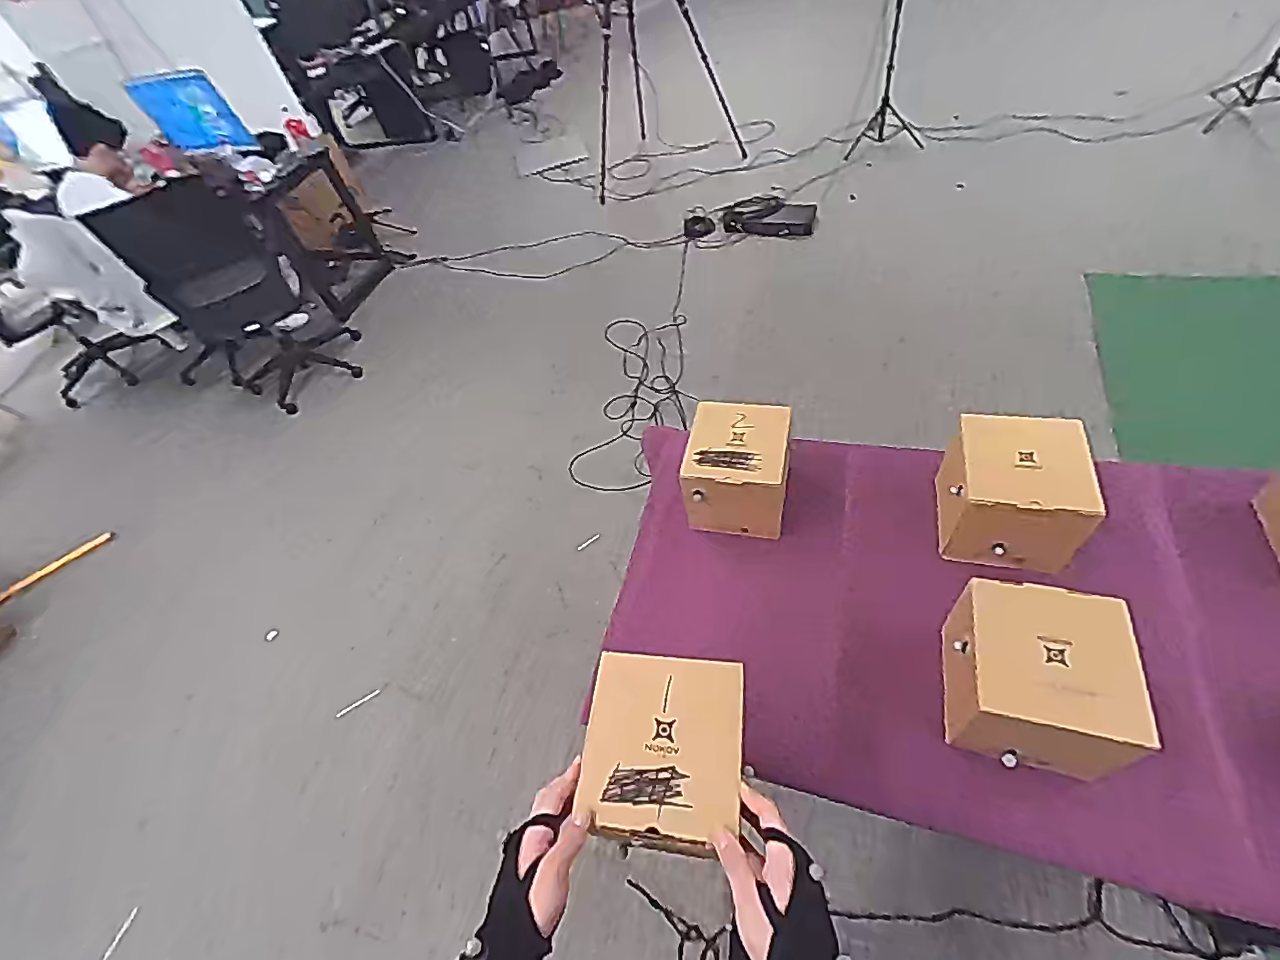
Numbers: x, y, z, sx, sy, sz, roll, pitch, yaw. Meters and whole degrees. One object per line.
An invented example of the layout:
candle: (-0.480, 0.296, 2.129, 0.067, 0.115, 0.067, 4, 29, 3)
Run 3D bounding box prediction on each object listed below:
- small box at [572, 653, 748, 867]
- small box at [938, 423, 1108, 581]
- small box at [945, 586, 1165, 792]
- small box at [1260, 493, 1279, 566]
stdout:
small box: (0.037, 0.321, 0.618, 0.168, 0.176, 0.179, 2, 50, 12)
small box: (0.583, 0.034, 0.853, 0.168, 0.176, 0.179, 6, 54, 17)
small box: (0.497, 0.263, 0.683, 0.168, 0.176, 0.179, 7, 53, 19)
small box: (1.002, 0.071, 0.718, 0.168, 0.176, 0.179, 5, 53, 20)
